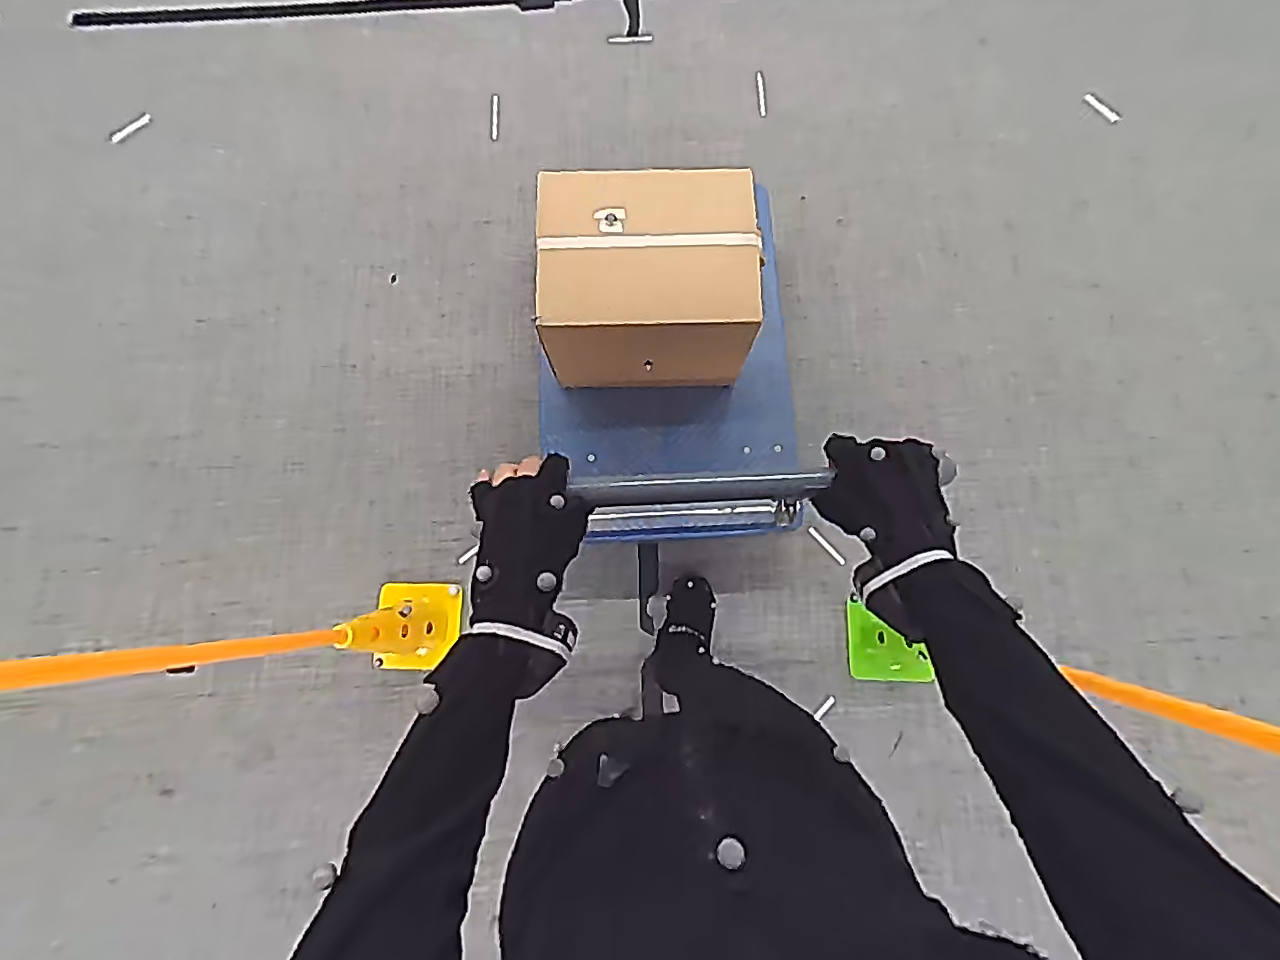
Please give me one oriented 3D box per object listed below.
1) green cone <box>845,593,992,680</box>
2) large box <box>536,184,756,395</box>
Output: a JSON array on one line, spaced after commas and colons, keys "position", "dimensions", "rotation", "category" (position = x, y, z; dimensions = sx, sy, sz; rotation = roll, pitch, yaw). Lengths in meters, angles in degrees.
[{"position": [0.600, 0.340, 1.135], "dimensions": [0.202, 0.368, 0.200], "rotation": [2, 78, 0], "category": "green cone"}, {"position": [0.010, -0.379, 1.147], "dimensions": [0.408, 0.320, 0.320], "rotation": [-1, 79, 1], "category": "large box"}]
